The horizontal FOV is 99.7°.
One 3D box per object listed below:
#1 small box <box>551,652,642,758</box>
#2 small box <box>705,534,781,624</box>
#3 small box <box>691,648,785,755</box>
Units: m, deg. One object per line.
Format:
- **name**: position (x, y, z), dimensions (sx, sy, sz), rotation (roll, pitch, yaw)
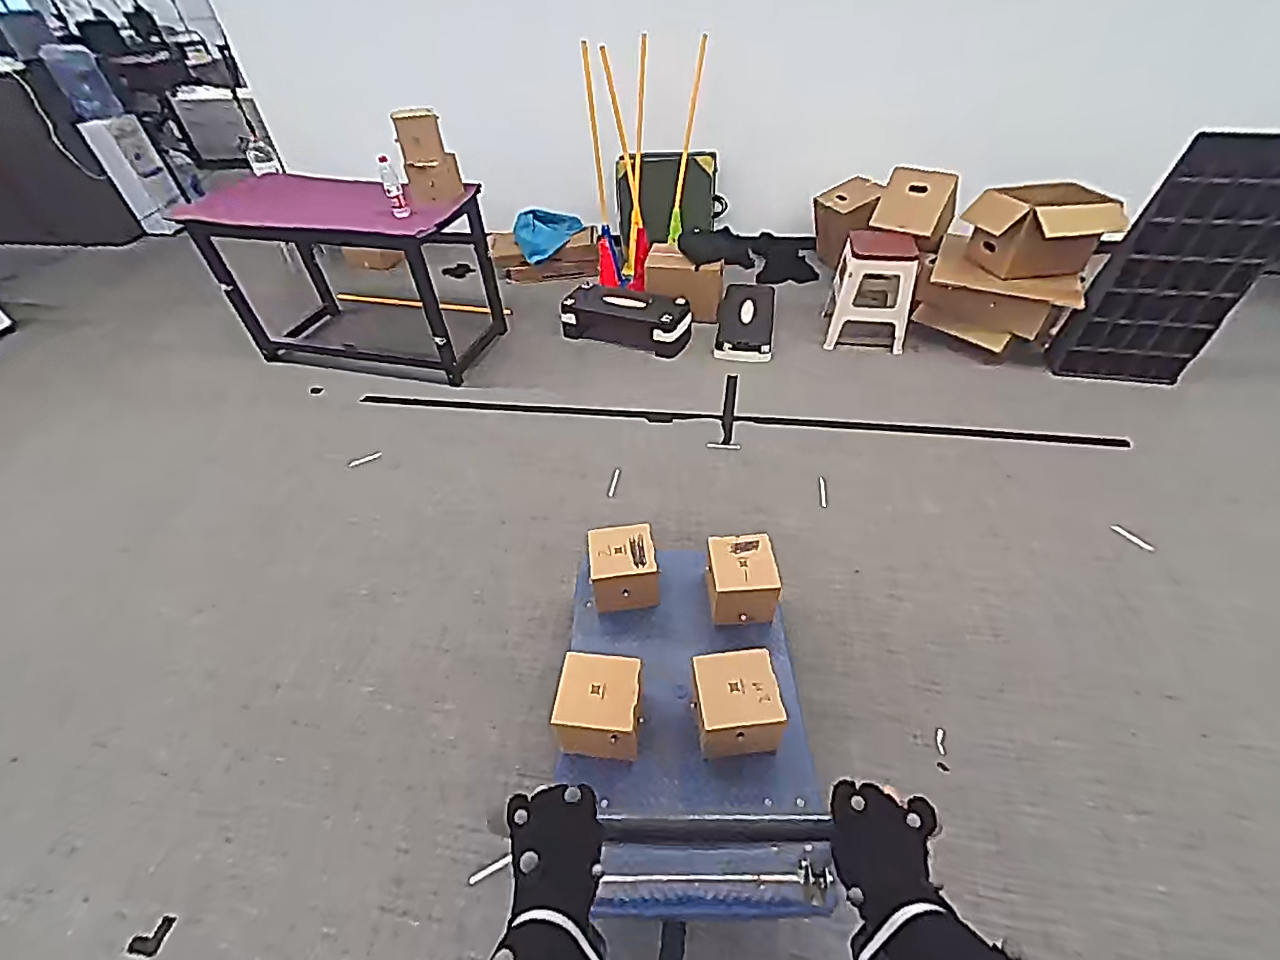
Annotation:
- **small box**: position (-0.091, 0.515, 1.233), dimensions (0.179, 0.176, 0.168), rotation (4, 44, 5)
- **small box**: position (0.269, 0.267, 1.458), dimensions (0.168, 0.176, 0.179), rotation (-4, 46, 0)
- **small box**: position (0.213, 0.504, 1.222), dimensions (0.179, 0.176, 0.168), rotation (-6, 45, -2)
